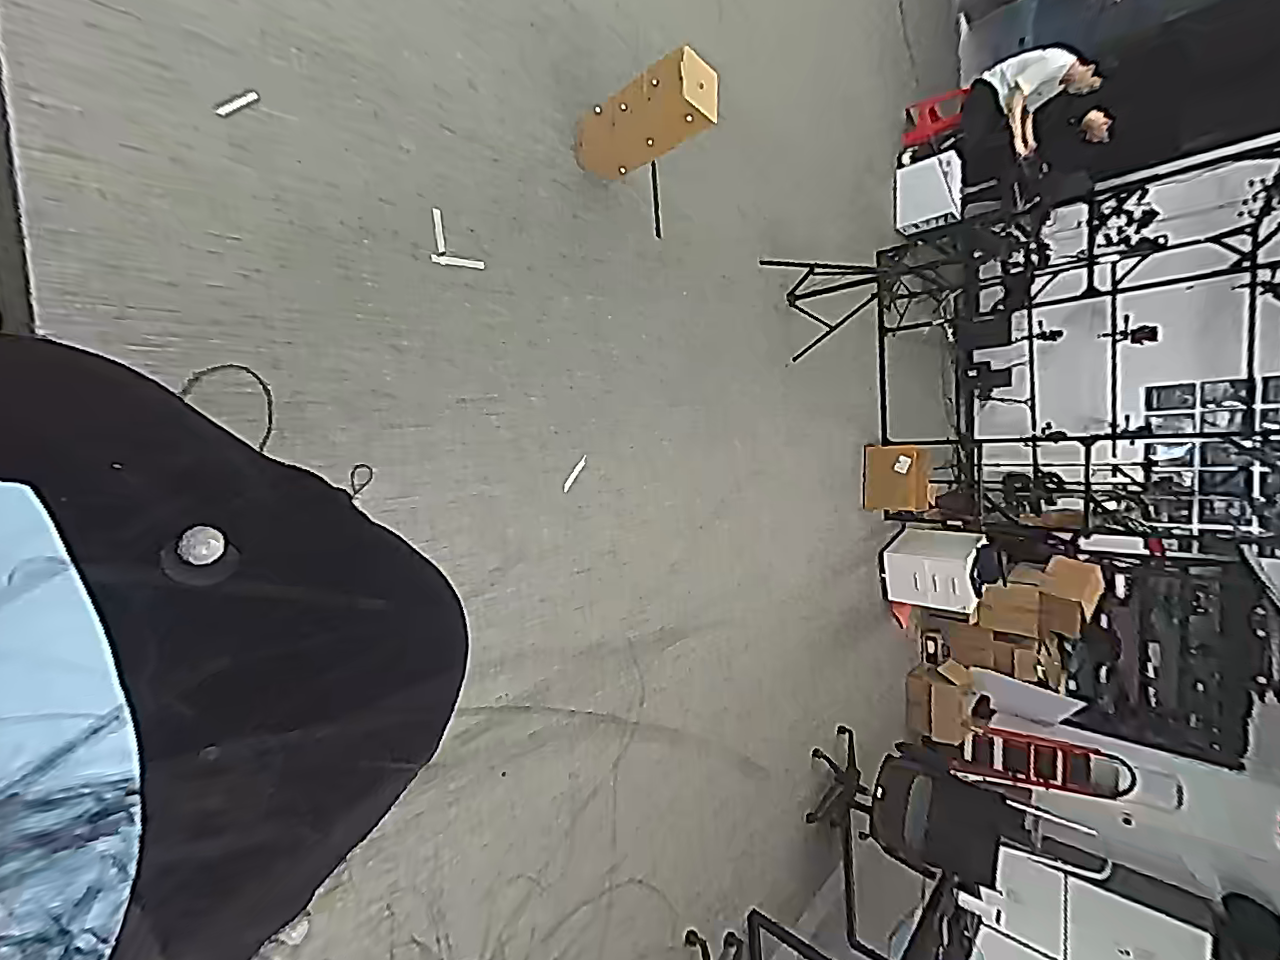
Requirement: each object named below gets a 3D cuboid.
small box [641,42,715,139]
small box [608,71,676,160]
[{"bbox_3d":[0.124,-1.241,1.743,0.179,0.176,0.168,1,90,-46],"label":"small box"},{"bbox_3d":[0.005,-1.237,1.854,0.179,0.176,0.168,1,90,-47],"label":"small box"}]
